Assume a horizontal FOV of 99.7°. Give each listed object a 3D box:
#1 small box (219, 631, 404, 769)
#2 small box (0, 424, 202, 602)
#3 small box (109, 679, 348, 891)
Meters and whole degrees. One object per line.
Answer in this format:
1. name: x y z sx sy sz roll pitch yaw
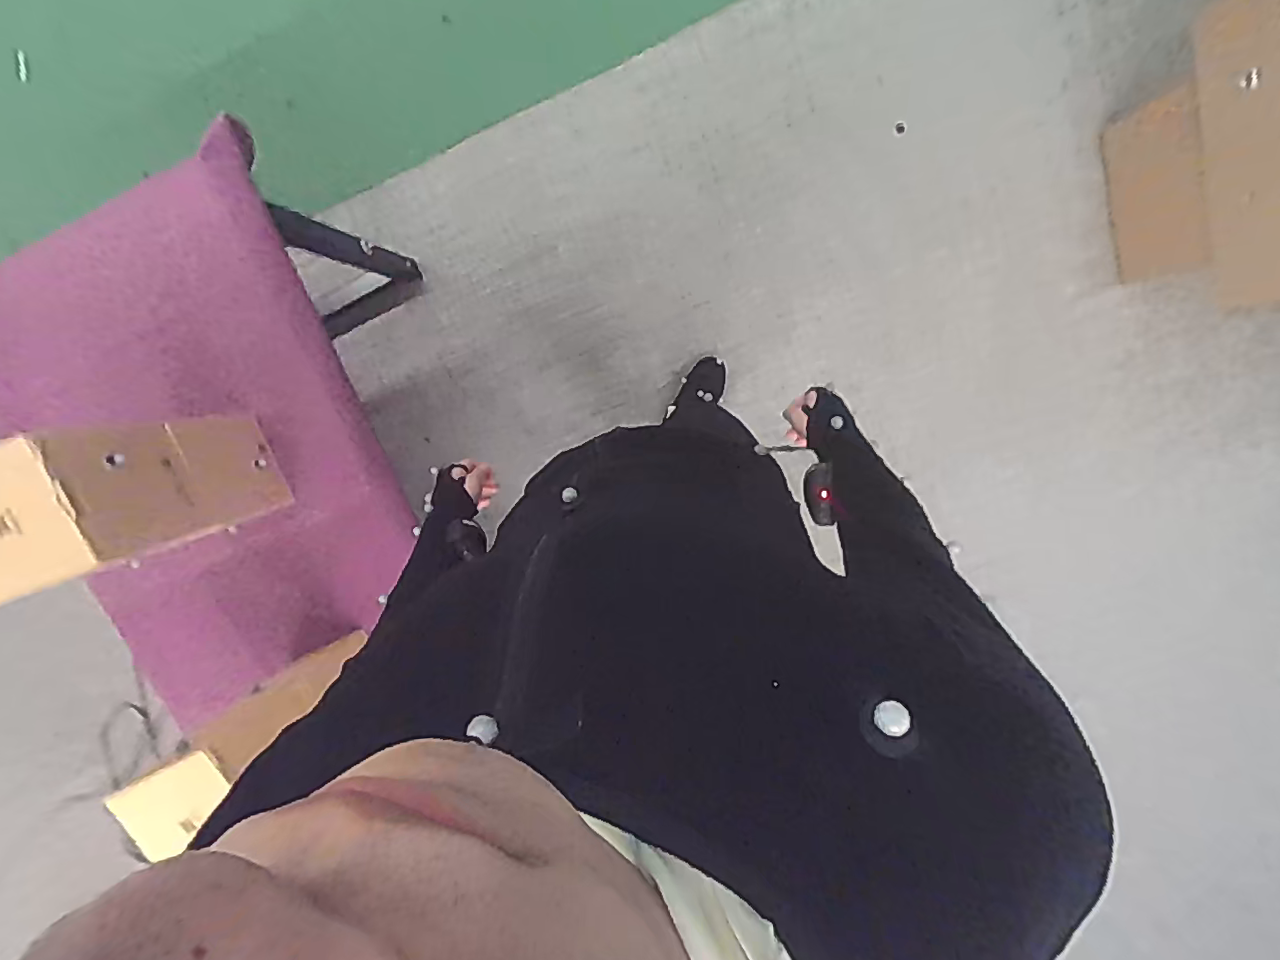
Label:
1. small box: -0.550 0.393 0.931 0.179 0.176 0.168 -26 98 9
2. small box: -0.732 0.034 0.710 0.179 0.176 0.168 -20 99 8
3. small box: -0.569 0.423 0.772 0.179 0.176 0.168 -29 97 9
